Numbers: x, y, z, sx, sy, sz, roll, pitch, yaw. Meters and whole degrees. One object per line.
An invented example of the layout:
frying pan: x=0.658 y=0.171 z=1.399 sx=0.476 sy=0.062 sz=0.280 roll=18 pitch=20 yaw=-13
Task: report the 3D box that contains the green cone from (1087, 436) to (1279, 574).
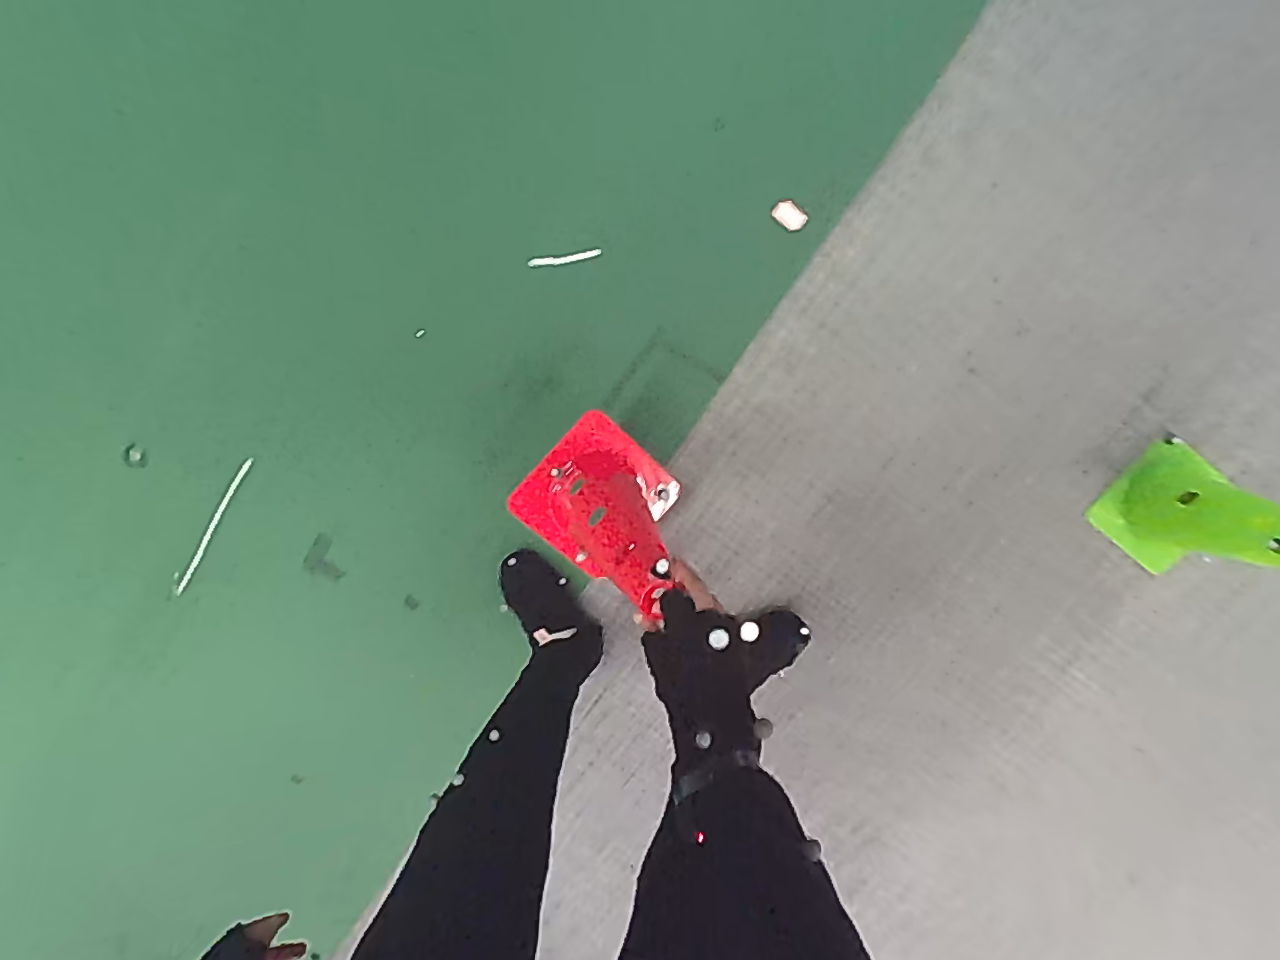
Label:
green cone: x=0.936 y=0.083 z=0.810 sx=0.202 sy=0.368 sz=0.200 roll=35 pitch=100 yaw=-7
